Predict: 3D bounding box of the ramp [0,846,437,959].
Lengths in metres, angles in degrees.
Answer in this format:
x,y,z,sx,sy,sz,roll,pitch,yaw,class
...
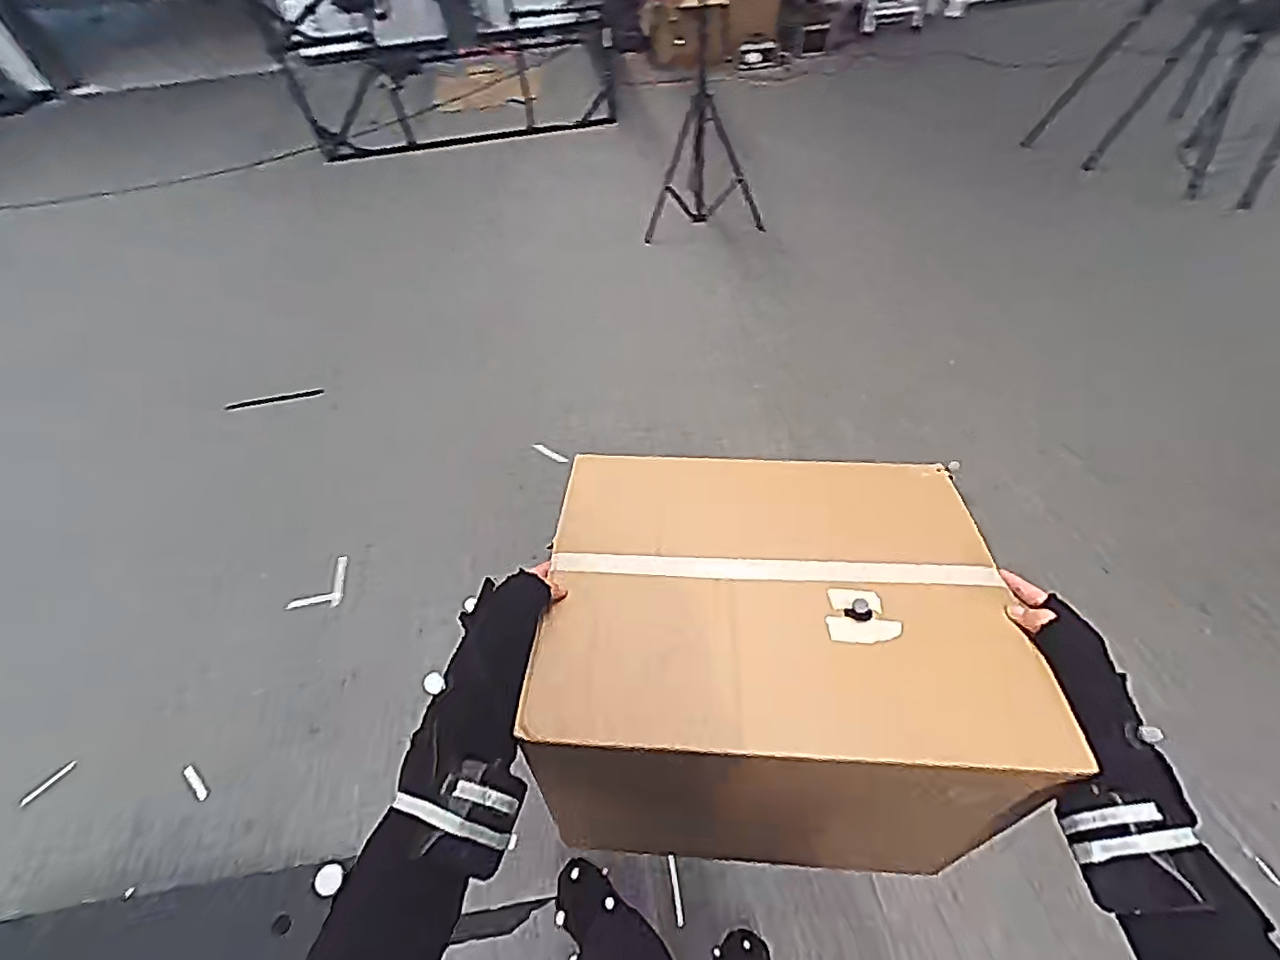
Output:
x,y,z,sx,sy,sz,roll,pitch,yaw,class
-0.919,1.066,1.021,0.991,0.206,0.509,-11,51,-4,ramp

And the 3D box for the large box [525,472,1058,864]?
x,y,z,sx,sy,sz,roll,pitch,yaw,class
0.115,0.206,0.607,0.408,0.320,0.320,1,43,3,large box
